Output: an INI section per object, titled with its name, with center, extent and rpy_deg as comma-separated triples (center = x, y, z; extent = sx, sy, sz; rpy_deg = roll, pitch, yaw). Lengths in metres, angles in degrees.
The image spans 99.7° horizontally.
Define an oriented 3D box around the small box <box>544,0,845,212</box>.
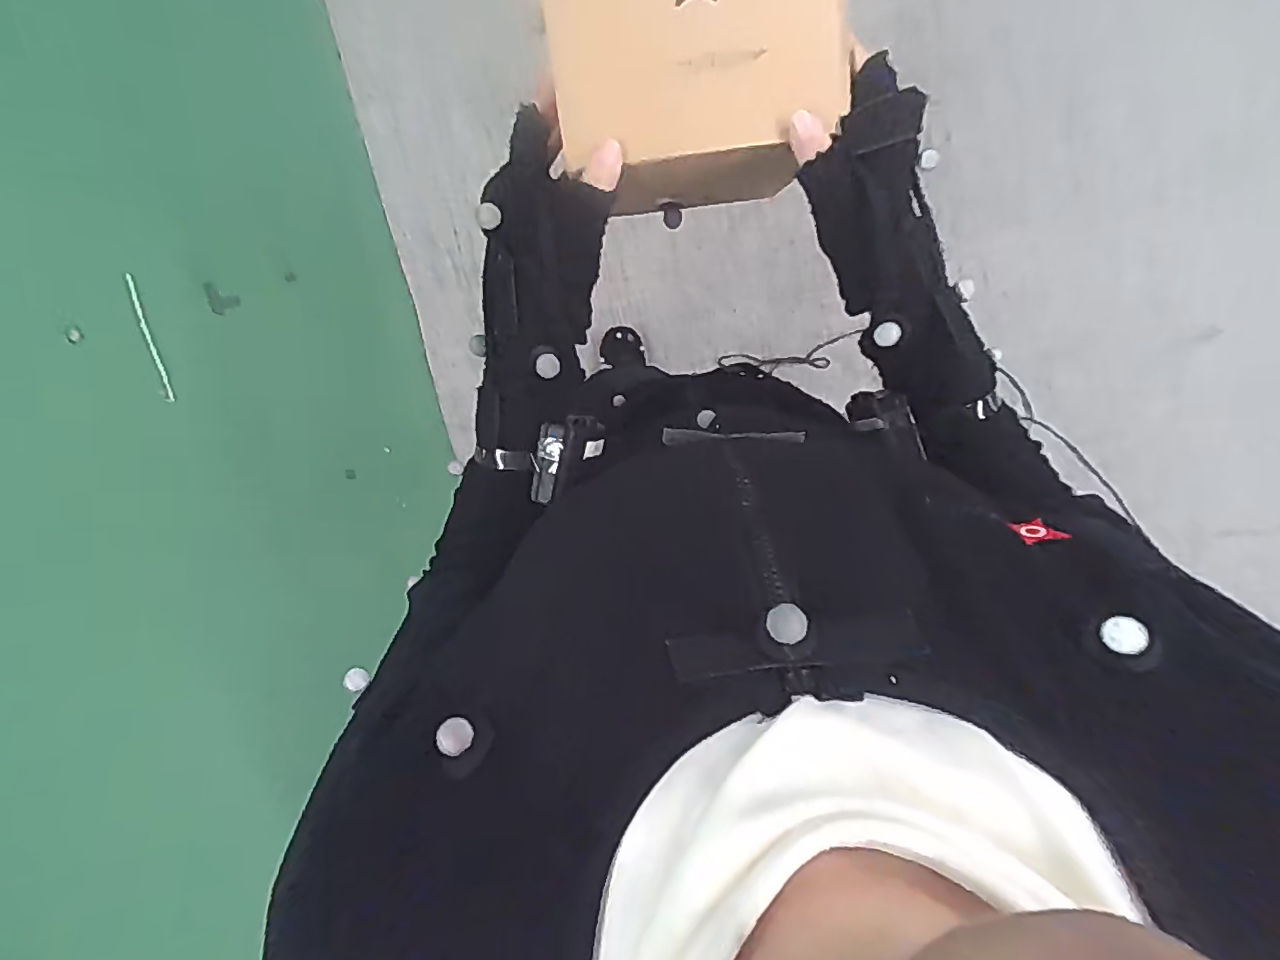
[small box]
center = 0.025, -0.298, 0.364
extent = 0.168, 0.176, 0.179
rpy_deg = -6, 107, 1
